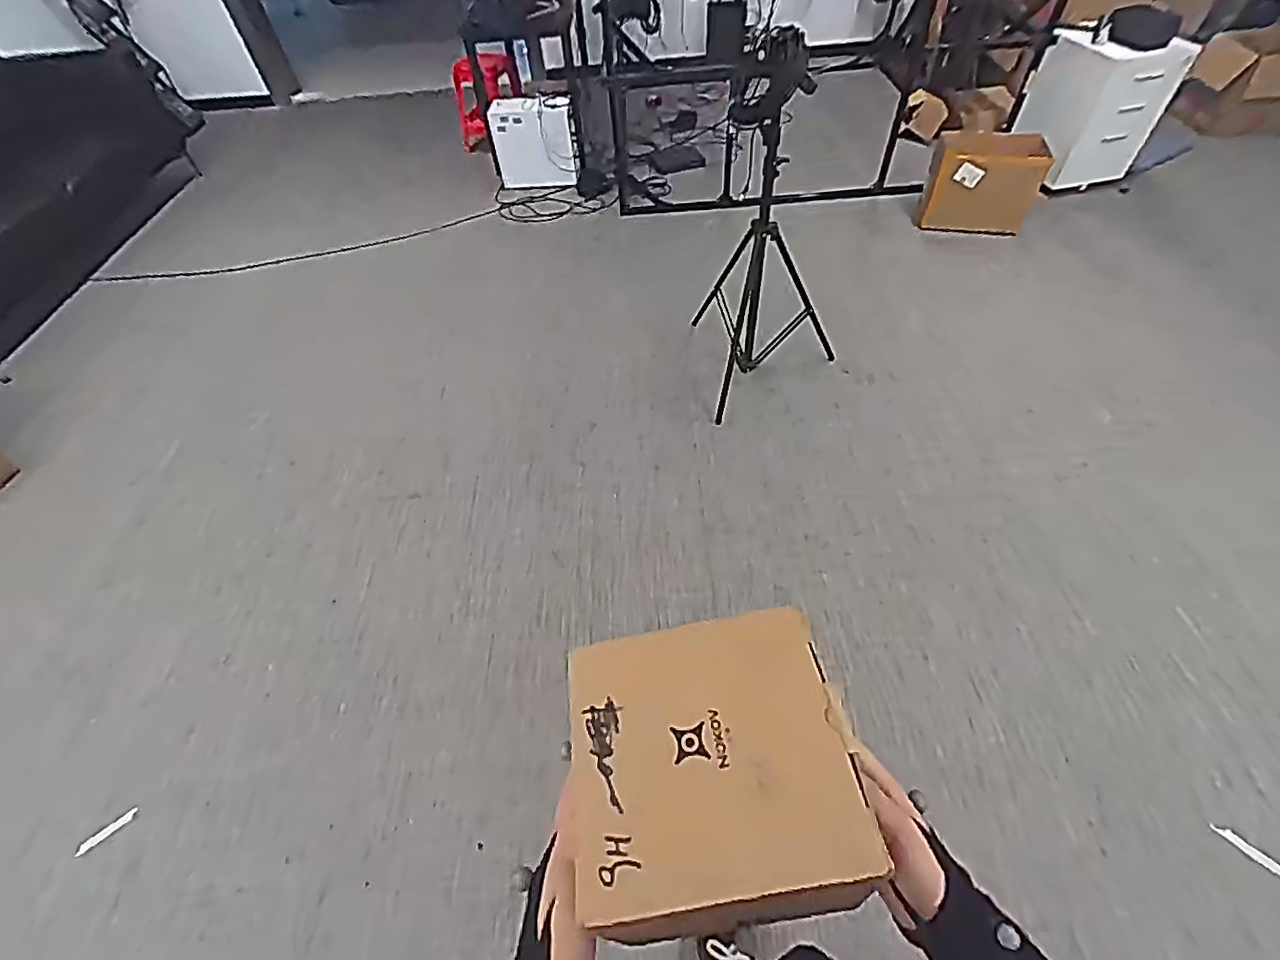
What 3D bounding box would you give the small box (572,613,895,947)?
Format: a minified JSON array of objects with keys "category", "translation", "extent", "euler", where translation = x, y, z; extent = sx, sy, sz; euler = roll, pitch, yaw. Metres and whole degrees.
[{"category":"small box","translation":[0.055,0.225,0.402],"extent":[0.179,0.176,0.168],"euler":[-11,45,1]}]
